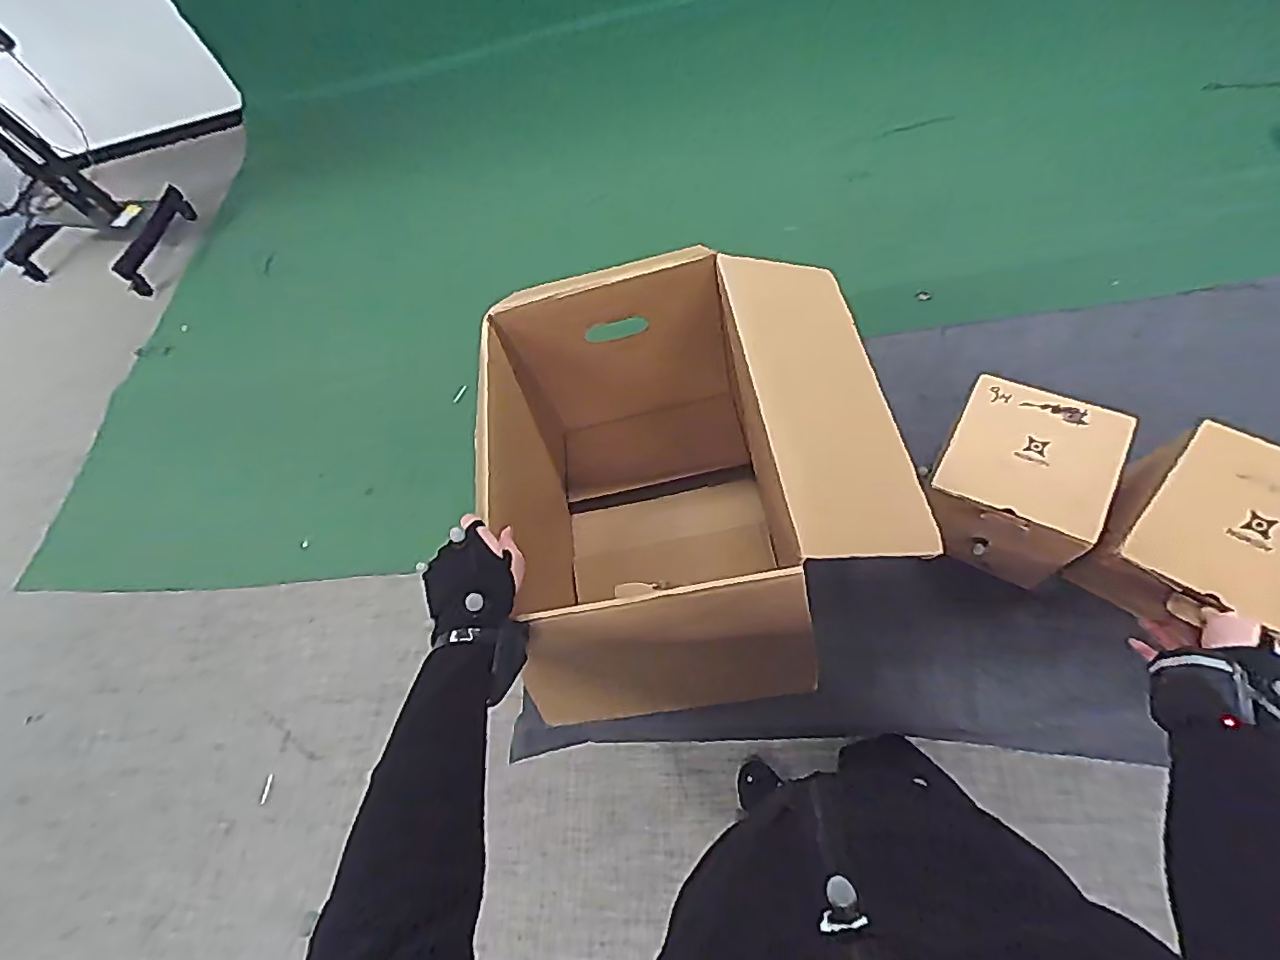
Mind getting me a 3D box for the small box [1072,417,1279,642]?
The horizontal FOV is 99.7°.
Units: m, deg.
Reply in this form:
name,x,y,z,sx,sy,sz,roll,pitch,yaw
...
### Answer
name,x,y,z,sx,sy,sz,roll,pitch,yaw
small box,0.629,0.065,0.601,0.168,0.176,0.179,33,87,25
